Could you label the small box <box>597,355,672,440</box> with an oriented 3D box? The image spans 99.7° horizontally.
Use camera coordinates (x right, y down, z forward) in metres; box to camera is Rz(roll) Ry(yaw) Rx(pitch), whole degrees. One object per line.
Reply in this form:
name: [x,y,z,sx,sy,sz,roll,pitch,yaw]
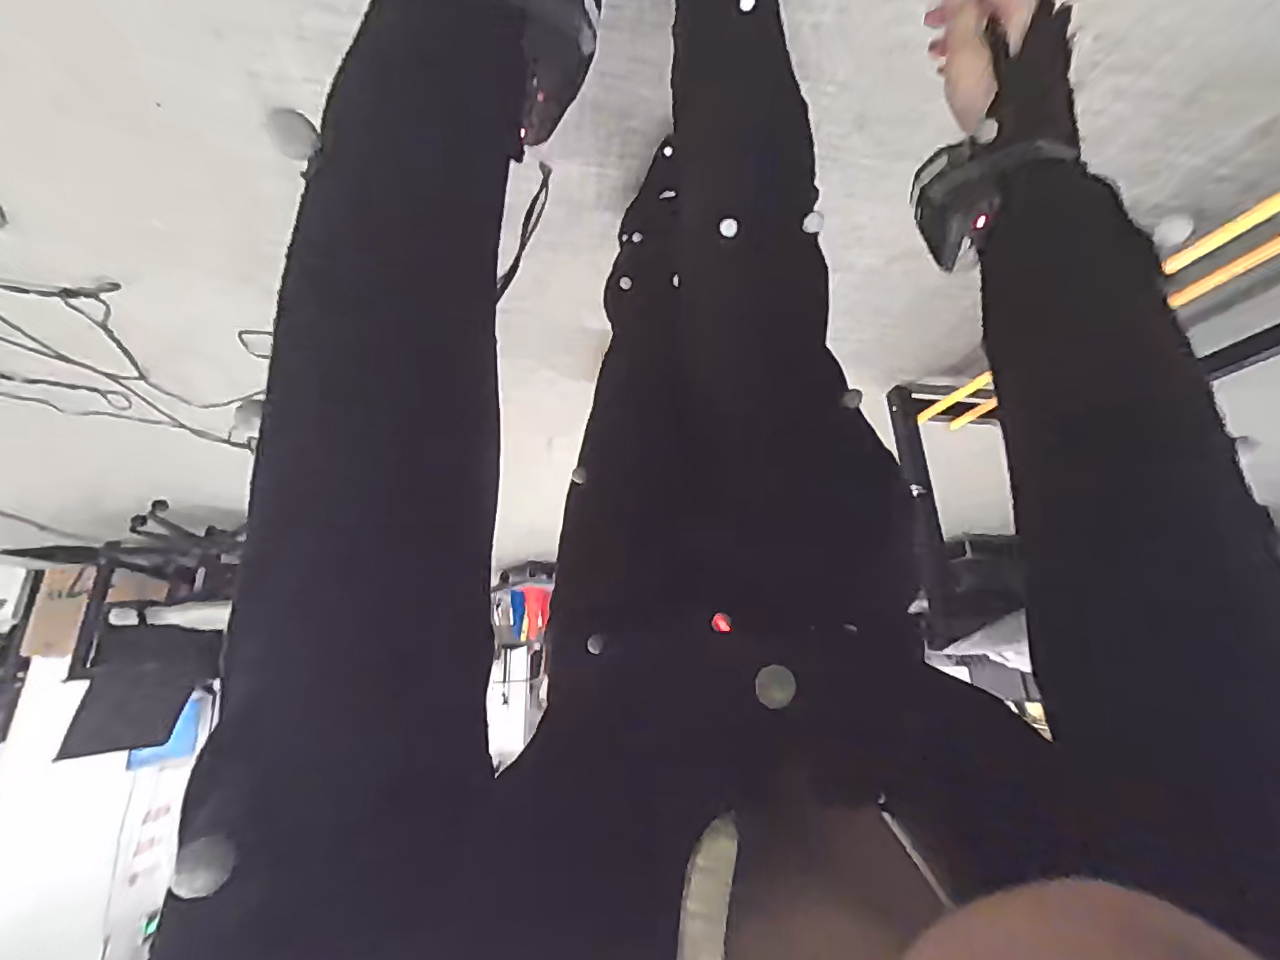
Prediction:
small box: [-0.020,-0.215,1.418,0.179,0.176,0.168,-1,161,-6]
